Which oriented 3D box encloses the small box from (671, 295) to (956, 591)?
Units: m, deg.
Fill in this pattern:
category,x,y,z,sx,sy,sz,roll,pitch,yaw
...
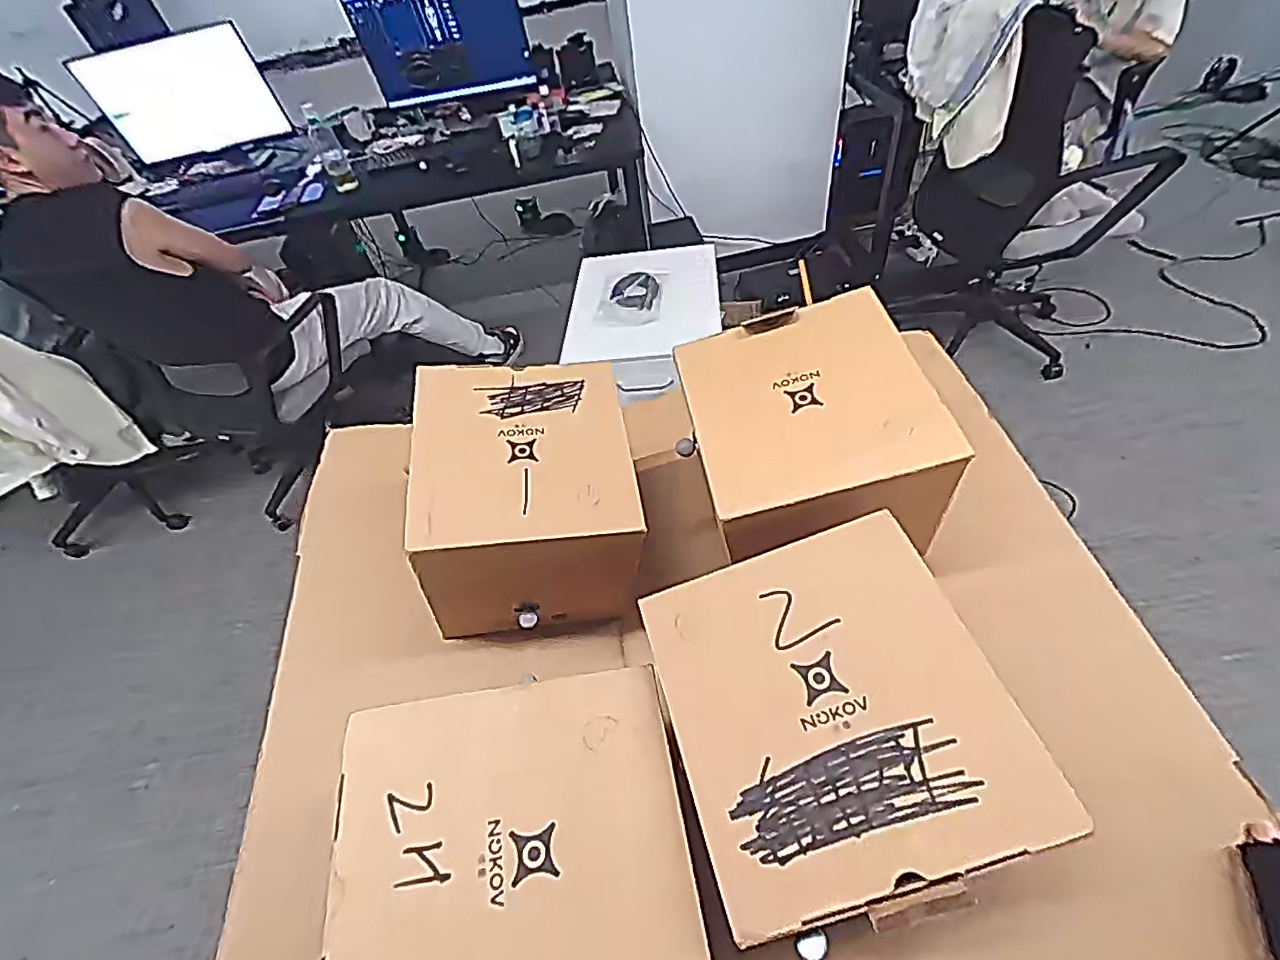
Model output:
category,x,y,z,sx,sy,sz,roll,pitch,yaw
small box,0.136,-0.019,0.466,0.168,0.176,0.179,-16,54,7
